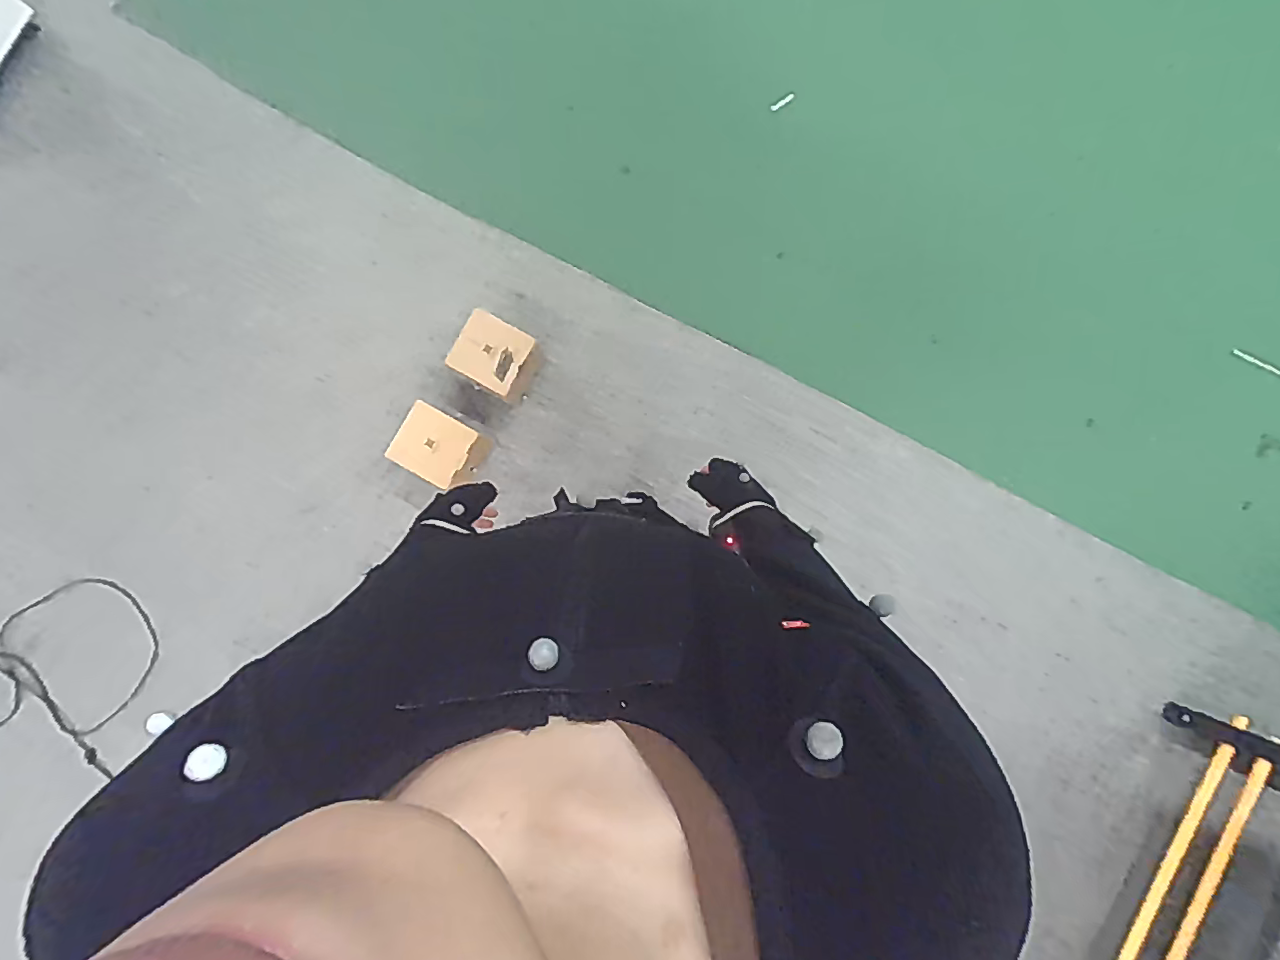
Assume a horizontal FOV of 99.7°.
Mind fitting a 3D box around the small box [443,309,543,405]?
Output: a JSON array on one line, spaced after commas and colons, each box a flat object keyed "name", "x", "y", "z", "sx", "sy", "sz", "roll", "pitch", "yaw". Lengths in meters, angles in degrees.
[{"name": "small box", "x": -0.372, "y": -0.309, "z": 1.406, "sx": 0.179, "sy": 0.176, "sz": 0.168, "roll": 29, "pitch": 87, "yaw": 0}]

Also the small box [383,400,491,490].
[{"name": "small box", "x": -0.513, "y": -0.080, "z": 1.395, "sx": 0.179, "sy": 0.176, "sz": 0.168, "roll": 29, "pitch": 87, "yaw": -1}]
